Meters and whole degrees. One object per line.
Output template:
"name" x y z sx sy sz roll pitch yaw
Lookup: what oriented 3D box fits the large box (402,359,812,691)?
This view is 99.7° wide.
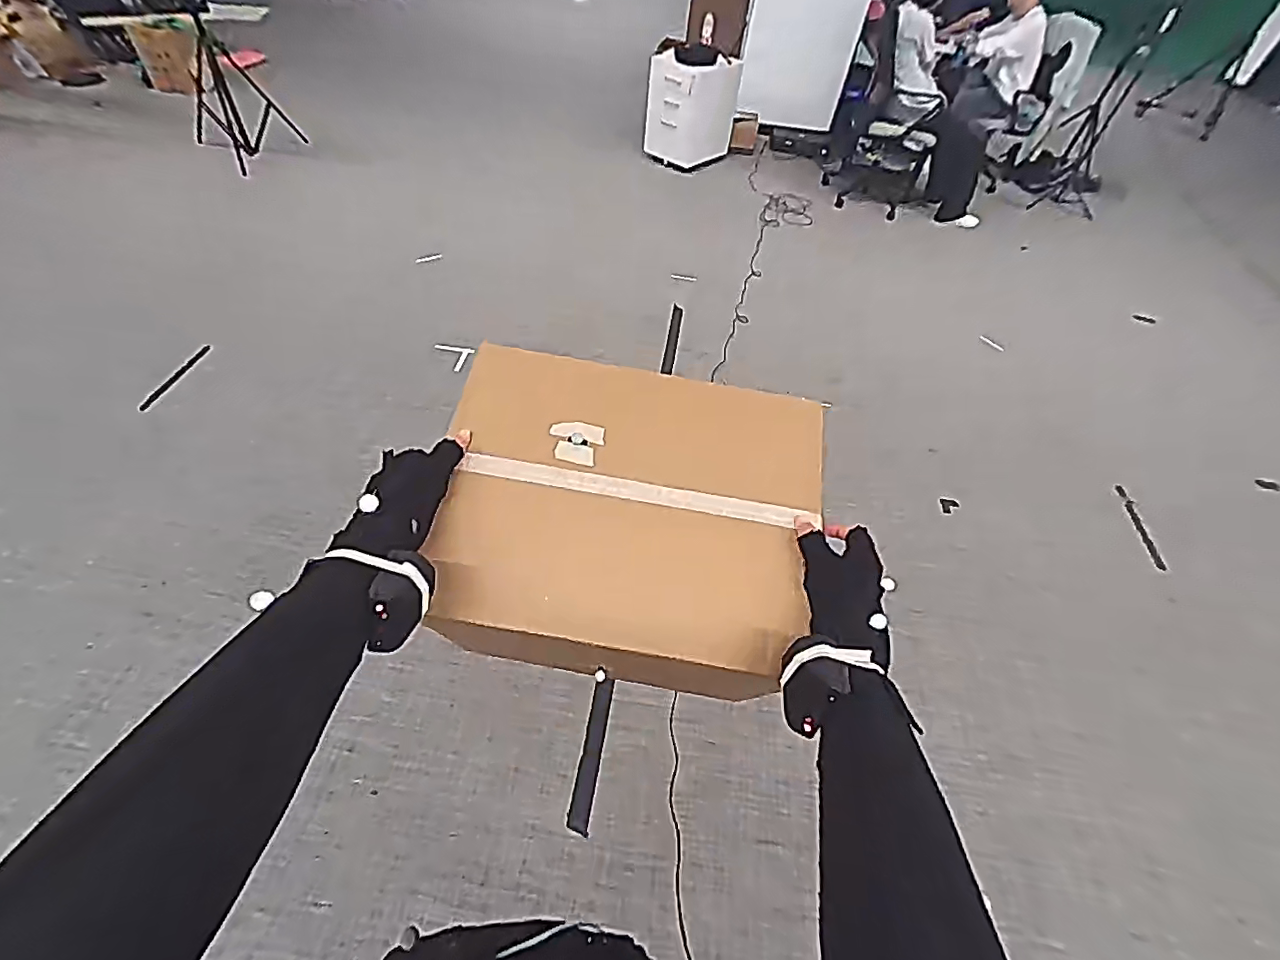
"large box" -0.020 0.082 0.713 0.408 0.320 0.320 10 64 1
